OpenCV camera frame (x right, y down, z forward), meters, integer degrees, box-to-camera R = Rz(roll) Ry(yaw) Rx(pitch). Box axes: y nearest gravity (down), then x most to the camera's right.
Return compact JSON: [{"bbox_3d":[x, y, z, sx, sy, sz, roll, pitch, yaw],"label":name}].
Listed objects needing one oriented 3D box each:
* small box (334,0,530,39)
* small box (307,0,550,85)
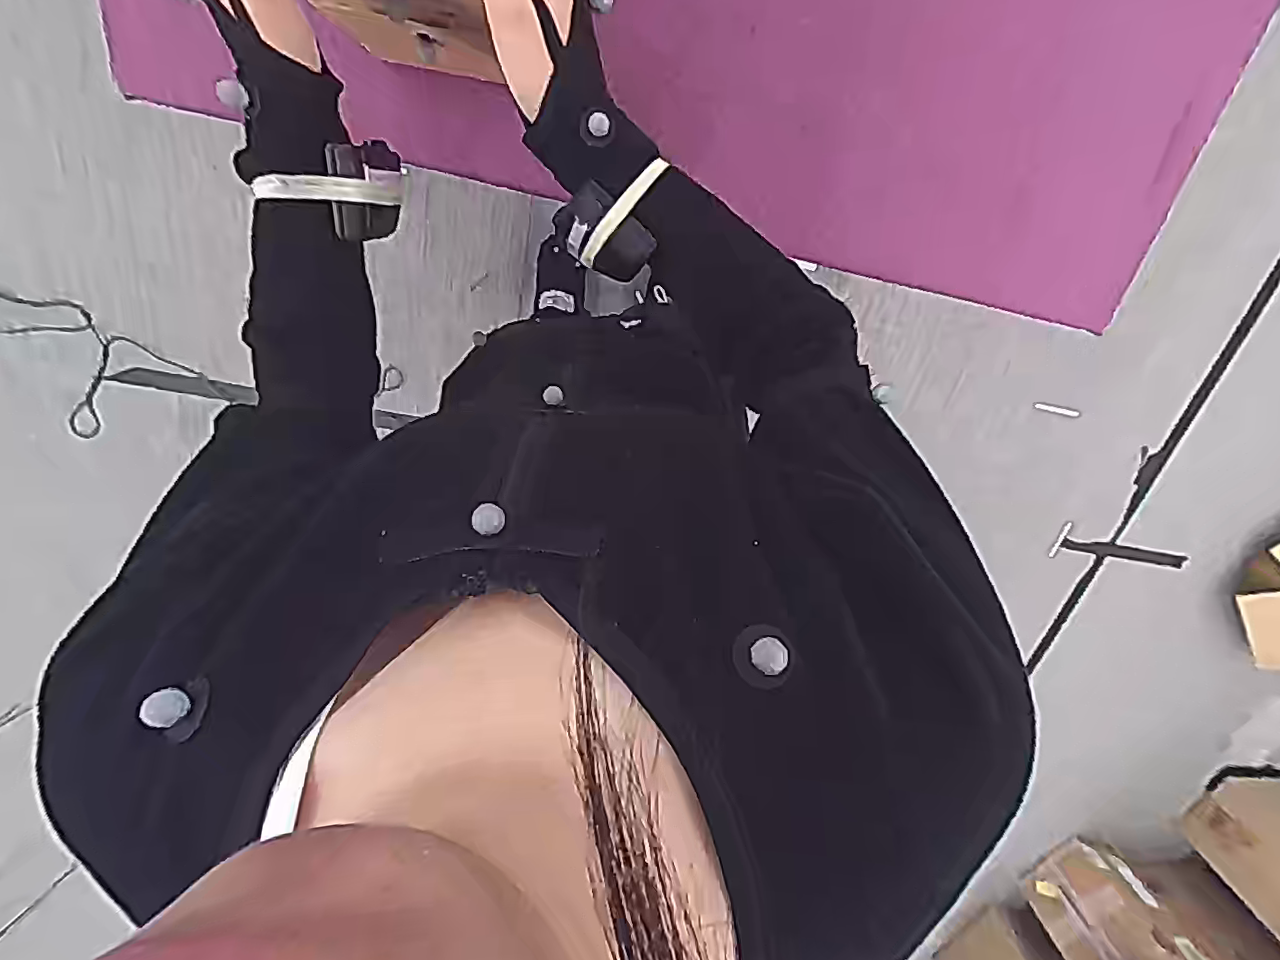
[{"bbox_3d":[-0.149,-0.403,0.315,0.168,0.176,0.179,6,115,-8],"label":"small box"},{"bbox_3d":[-0.167,-0.466,0.466,0.179,0.176,0.168,6,115,-8],"label":"small box"}]
